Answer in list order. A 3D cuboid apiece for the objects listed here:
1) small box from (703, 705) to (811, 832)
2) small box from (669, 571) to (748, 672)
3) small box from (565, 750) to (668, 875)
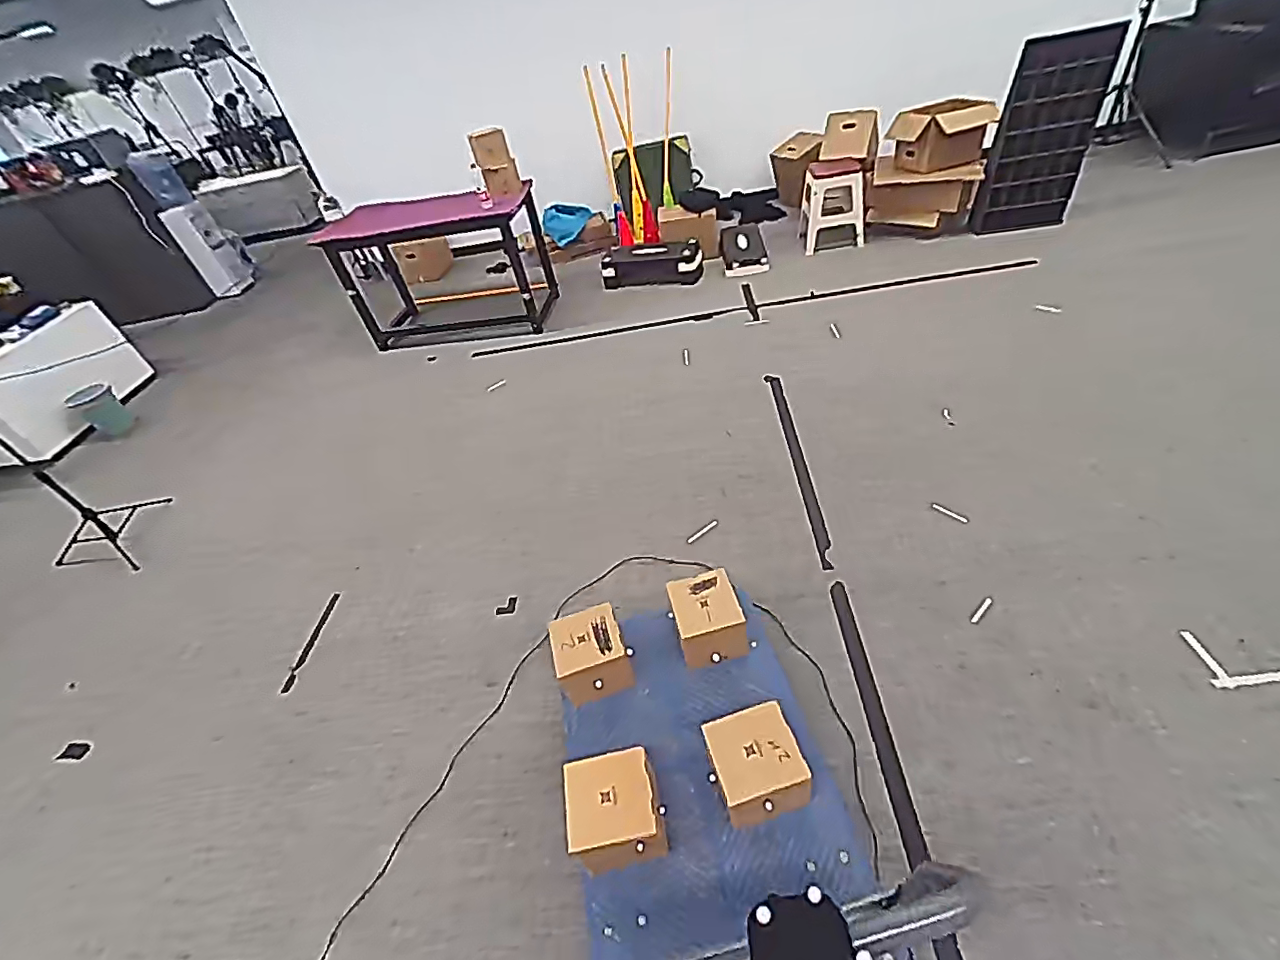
[{"bbox_3d":[0.249,0.616,1.151,0.179,0.176,0.168,-17,42,-4],"label":"small box"},{"bbox_3d":[0.181,0.376,1.431,0.168,0.176,0.179,-15,43,-2],"label":"small box"},{"bbox_3d":[-0.049,0.701,1.136,0.179,0.176,0.168,-12,41,-1],"label":"small box"}]
